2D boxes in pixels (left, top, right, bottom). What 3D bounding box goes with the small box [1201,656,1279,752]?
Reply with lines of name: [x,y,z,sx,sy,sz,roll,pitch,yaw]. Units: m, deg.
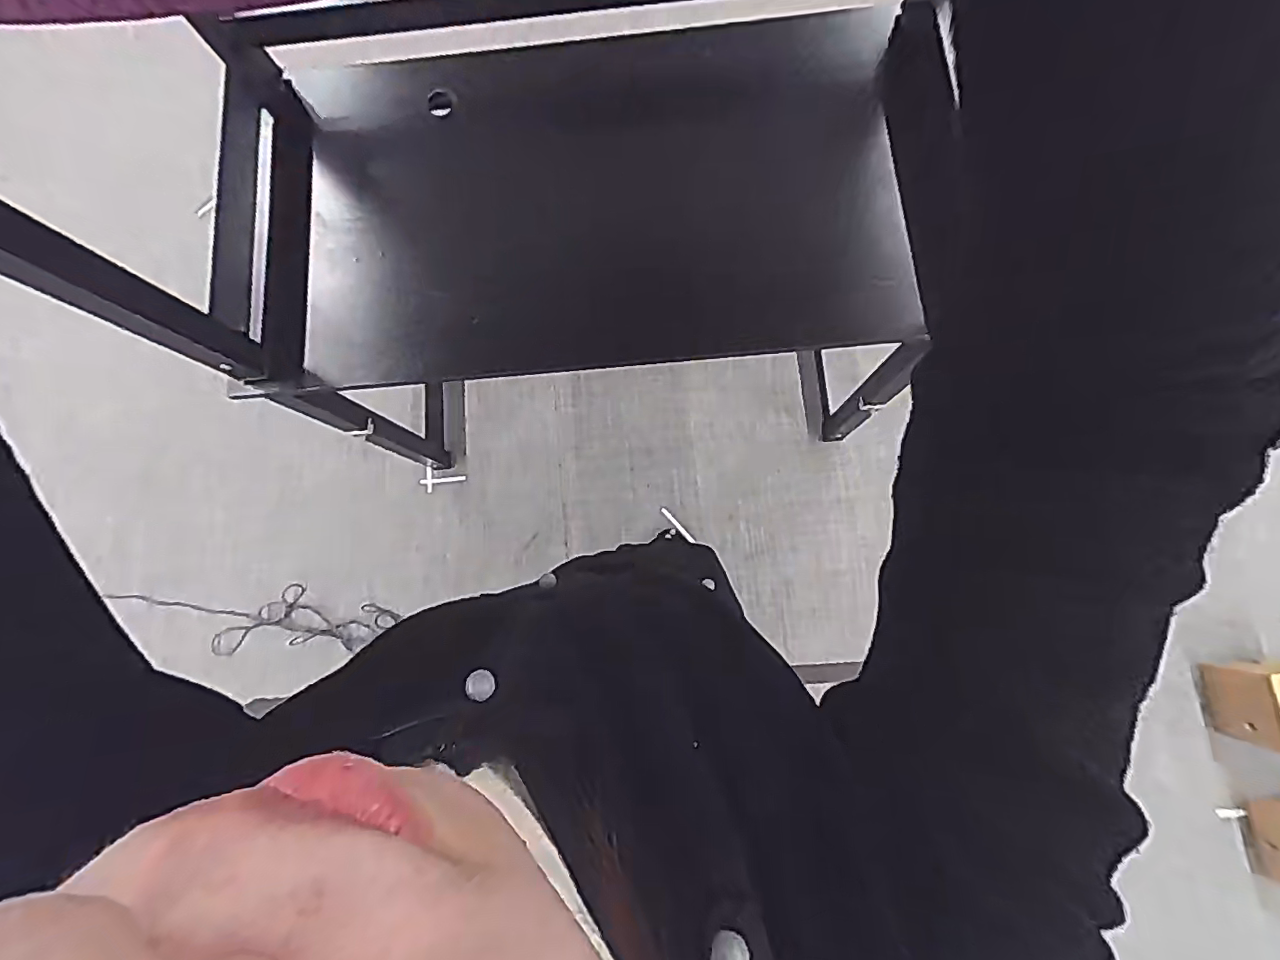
small box: [1.507,0.526,1.281,0.168,0.176,0.179,-6,81,2]

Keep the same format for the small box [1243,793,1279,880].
small box: [1.554,0.839,1.228,0.168,0.176,0.179,-6,81,2]
